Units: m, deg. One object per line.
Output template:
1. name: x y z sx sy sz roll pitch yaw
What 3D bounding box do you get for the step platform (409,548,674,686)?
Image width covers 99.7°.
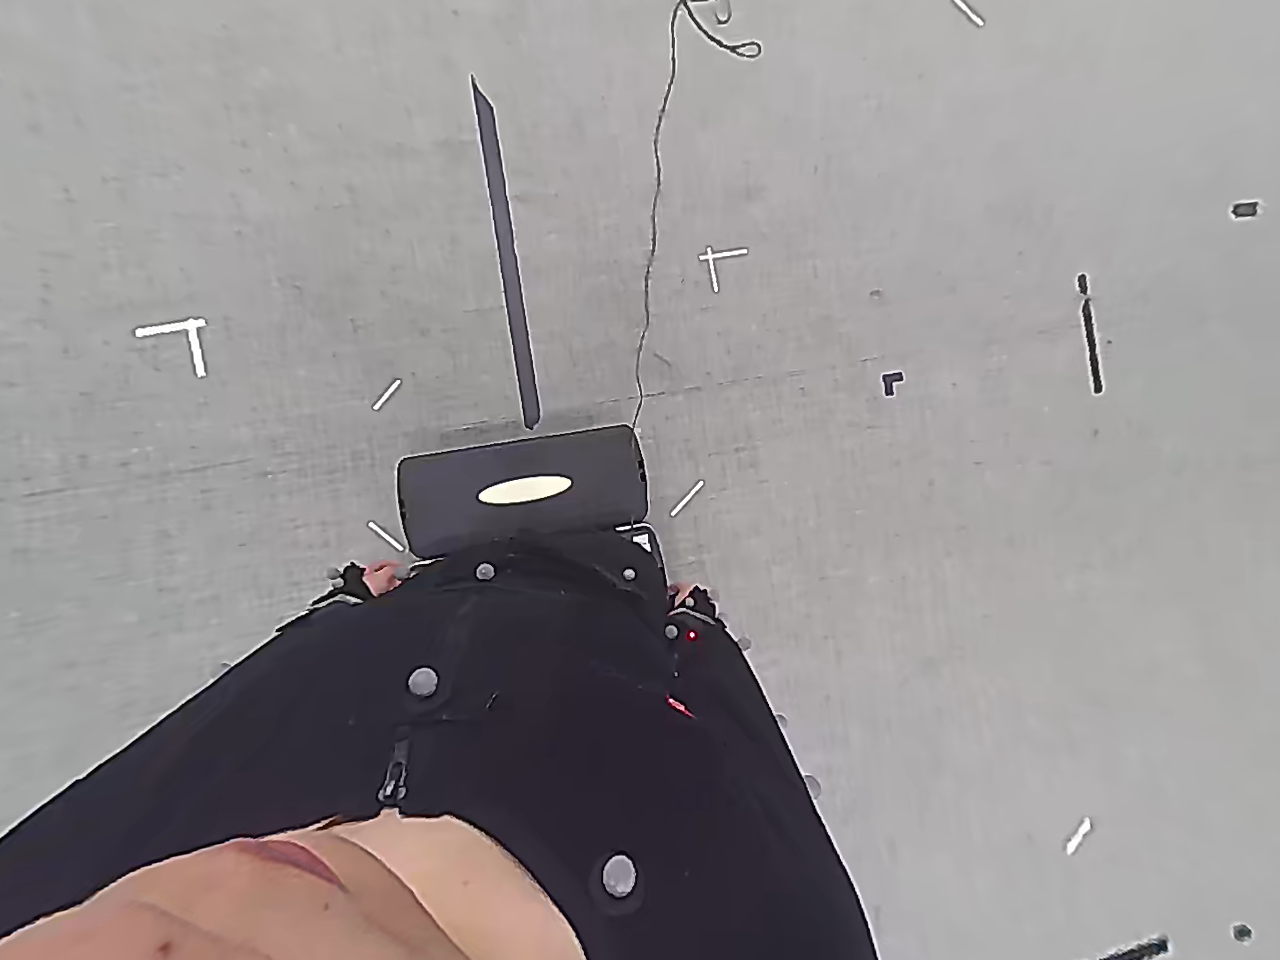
1. step platform: -0.250 0.356 1.449 0.684 0.204 0.286 -5 87 -5
